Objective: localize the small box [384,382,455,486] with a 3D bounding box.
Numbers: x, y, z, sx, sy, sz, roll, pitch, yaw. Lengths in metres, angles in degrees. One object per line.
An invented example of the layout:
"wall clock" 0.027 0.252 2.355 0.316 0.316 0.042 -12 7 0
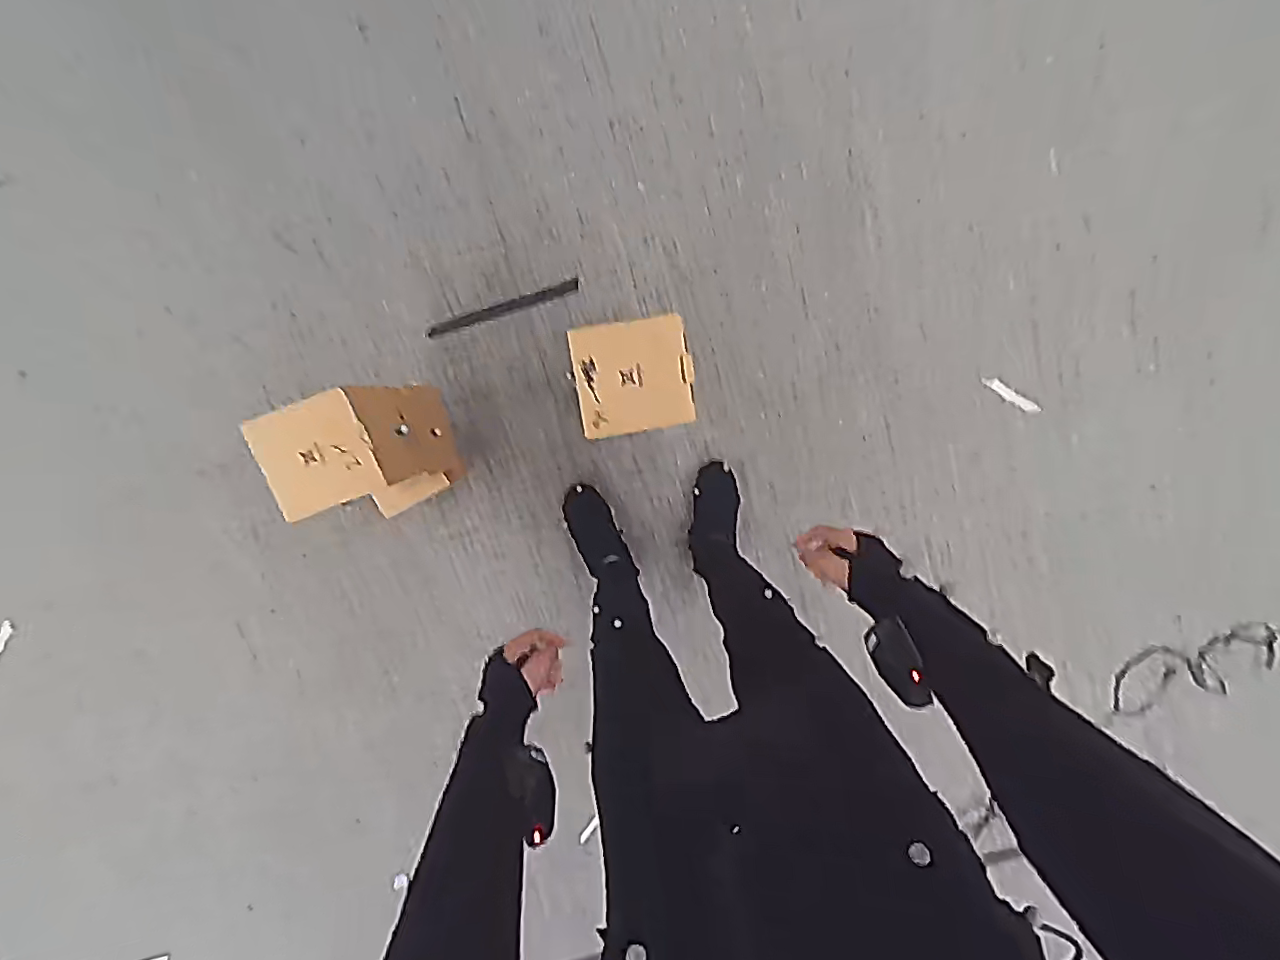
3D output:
"small box" -0.484 -0.087 1.052 0.168 0.176 0.179 -13 101 2

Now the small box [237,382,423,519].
"small box" -0.495 -0.054 0.891 0.179 0.176 0.168 -20 100 3

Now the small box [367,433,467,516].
"small box" -0.522 -0.046 1.224 0.168 0.176 0.179 -27 100 4

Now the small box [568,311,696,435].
"small box" -0.016 -0.173 0.883 0.179 0.176 0.168 -9 100 -2
